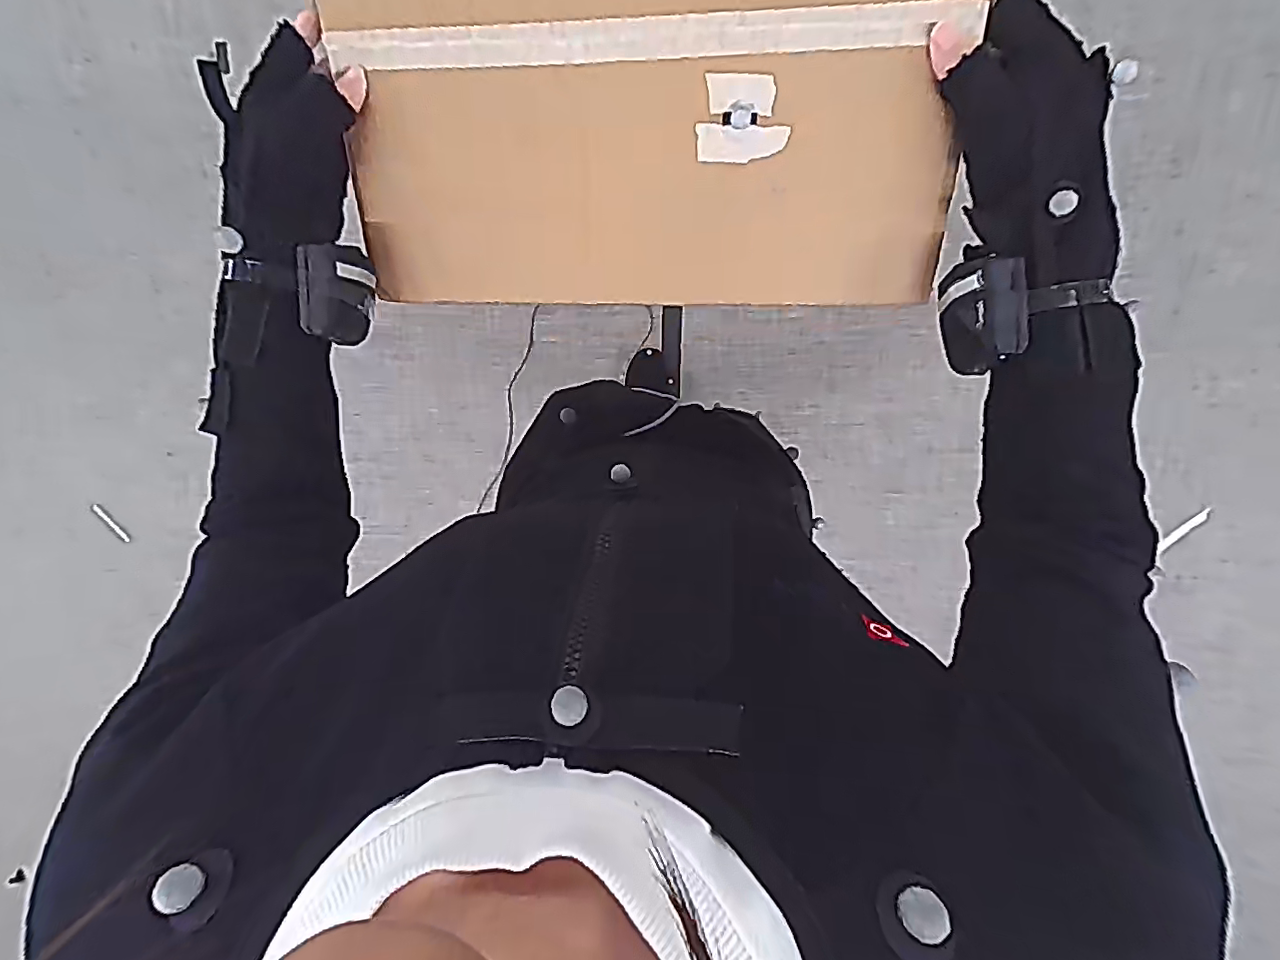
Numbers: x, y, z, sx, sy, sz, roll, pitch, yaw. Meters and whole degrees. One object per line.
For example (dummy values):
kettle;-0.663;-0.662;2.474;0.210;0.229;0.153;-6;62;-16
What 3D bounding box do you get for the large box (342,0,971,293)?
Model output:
large box;0.015;-0.345;0.480;0.408;0.320;0.320;2;115;5
